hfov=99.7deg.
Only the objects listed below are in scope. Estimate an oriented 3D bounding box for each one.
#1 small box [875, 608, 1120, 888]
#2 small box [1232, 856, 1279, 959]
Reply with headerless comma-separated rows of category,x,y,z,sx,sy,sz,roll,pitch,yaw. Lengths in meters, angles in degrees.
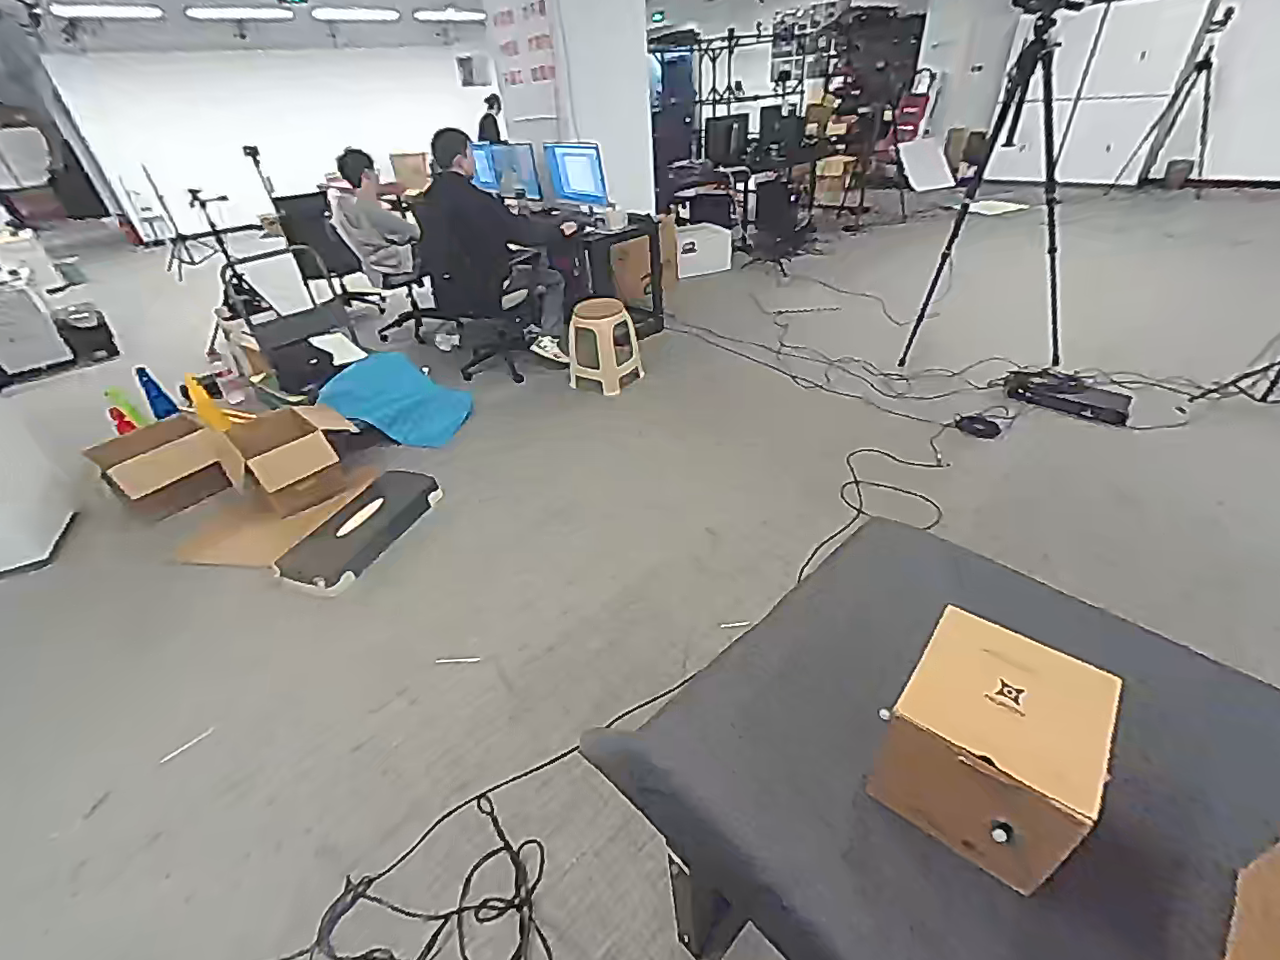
small box,0.372,0.283,0.584,0.168,0.176,0.179,24,43,33
small box,0.592,0.393,0.398,0.179,0.176,0.168,-32,43,-32
